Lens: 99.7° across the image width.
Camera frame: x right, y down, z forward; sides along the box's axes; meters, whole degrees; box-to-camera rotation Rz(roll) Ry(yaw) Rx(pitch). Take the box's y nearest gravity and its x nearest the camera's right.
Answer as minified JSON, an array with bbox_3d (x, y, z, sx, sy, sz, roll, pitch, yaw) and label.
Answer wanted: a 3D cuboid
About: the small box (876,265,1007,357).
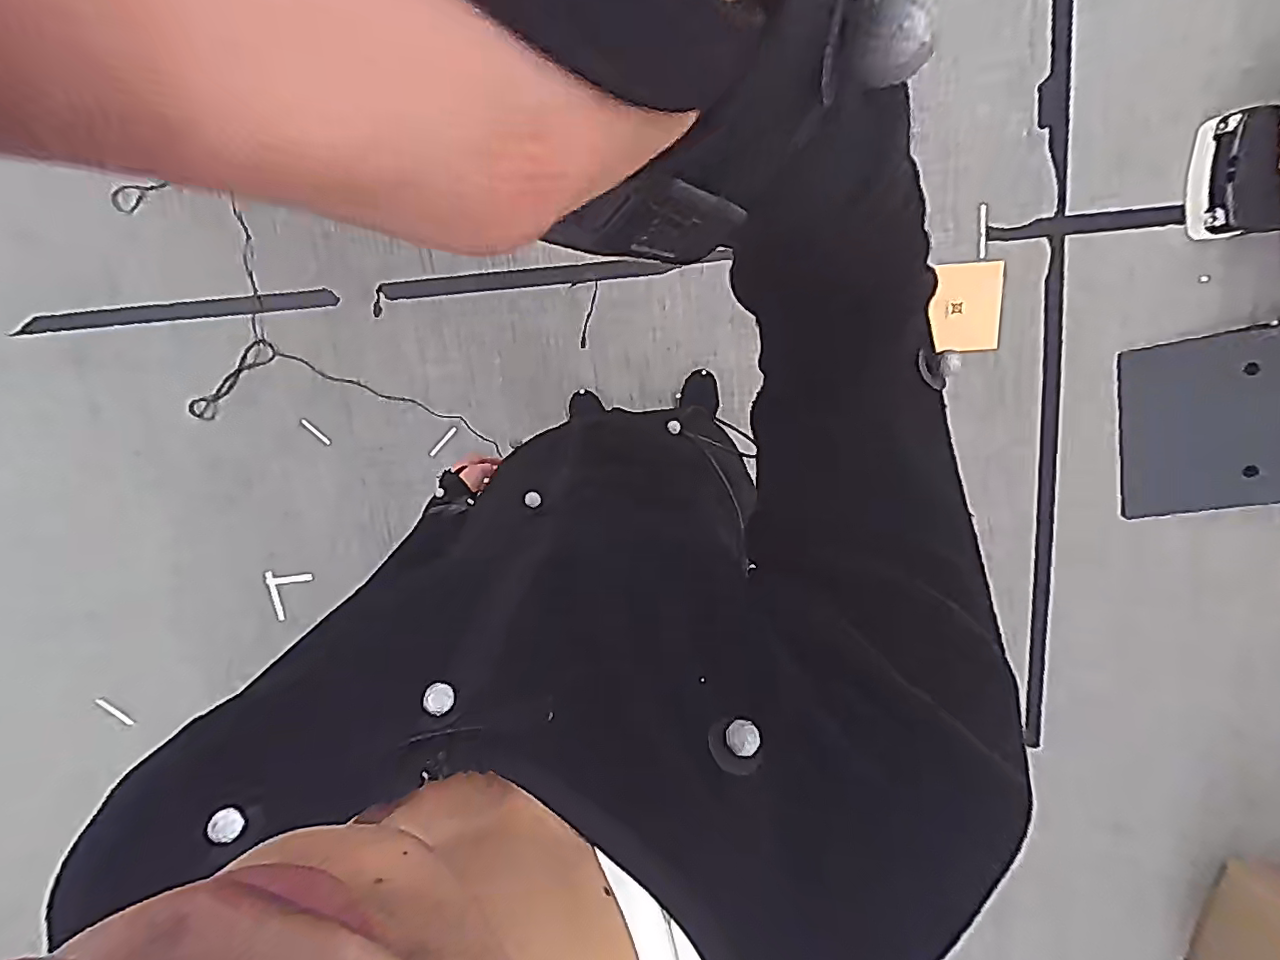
[{"bbox_3d":[0.611,-0.342,1.114,0.179,0.176,0.168,-3,103,4],"label":"small box"}]
